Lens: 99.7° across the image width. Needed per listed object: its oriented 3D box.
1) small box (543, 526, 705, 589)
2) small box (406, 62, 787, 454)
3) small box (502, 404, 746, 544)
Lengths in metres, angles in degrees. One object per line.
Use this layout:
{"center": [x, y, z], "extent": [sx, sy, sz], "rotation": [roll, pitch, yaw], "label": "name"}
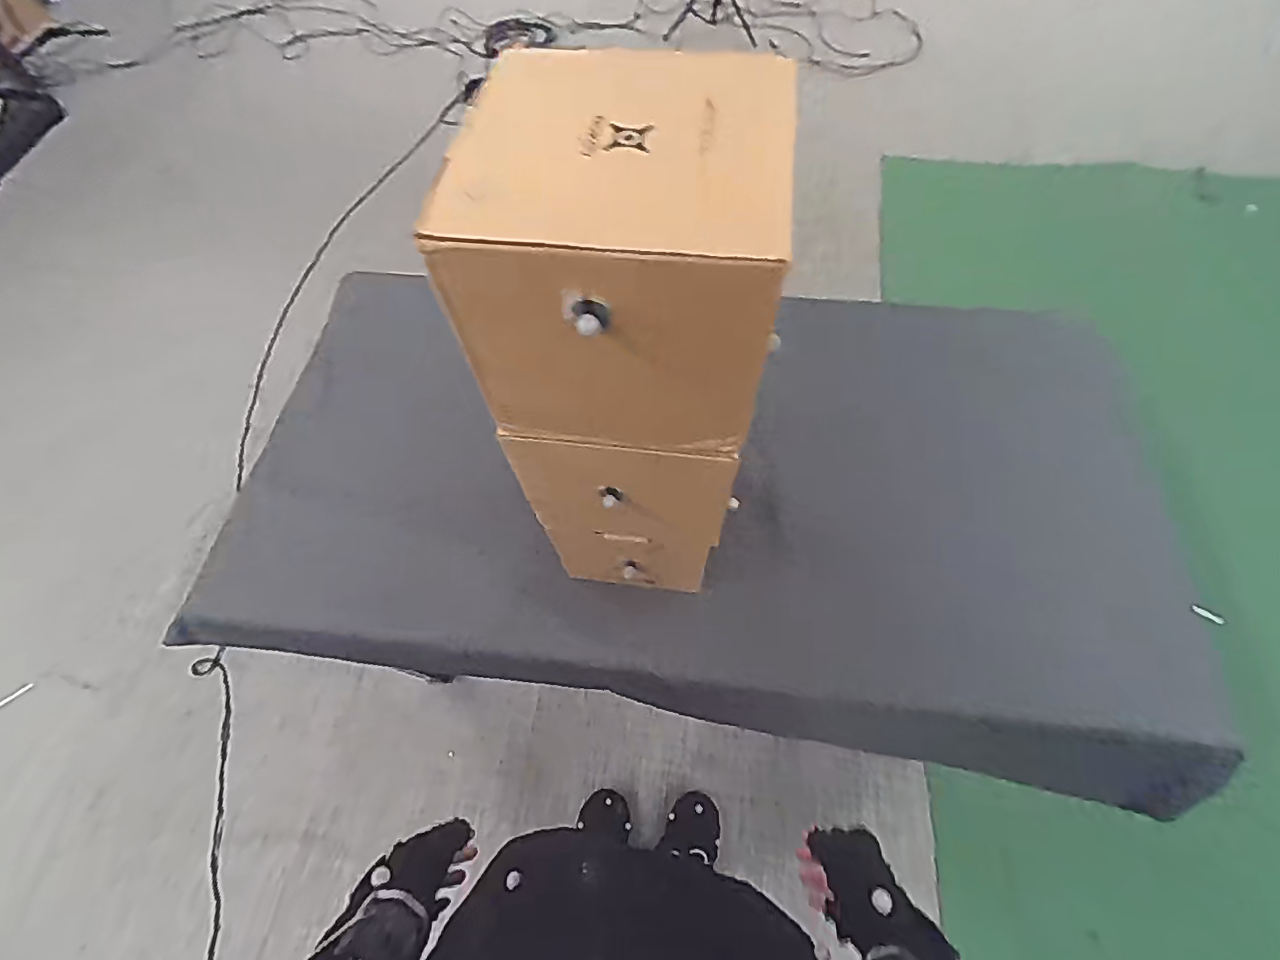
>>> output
{"center": [-0.002, 0.020, 0.640], "extent": [0.168, 0.176, 0.179], "rotation": [5, 63, 6], "label": "small box"}
{"center": [-0.011, -0.131, 0.350], "extent": [0.179, 0.176, 0.168], "rotation": [7, 63, 5], "label": "small box"}
{"center": [-0.005, -0.049, 0.490], "extent": [0.179, 0.176, 0.168], "rotation": [4, 62, 4], "label": "small box"}
